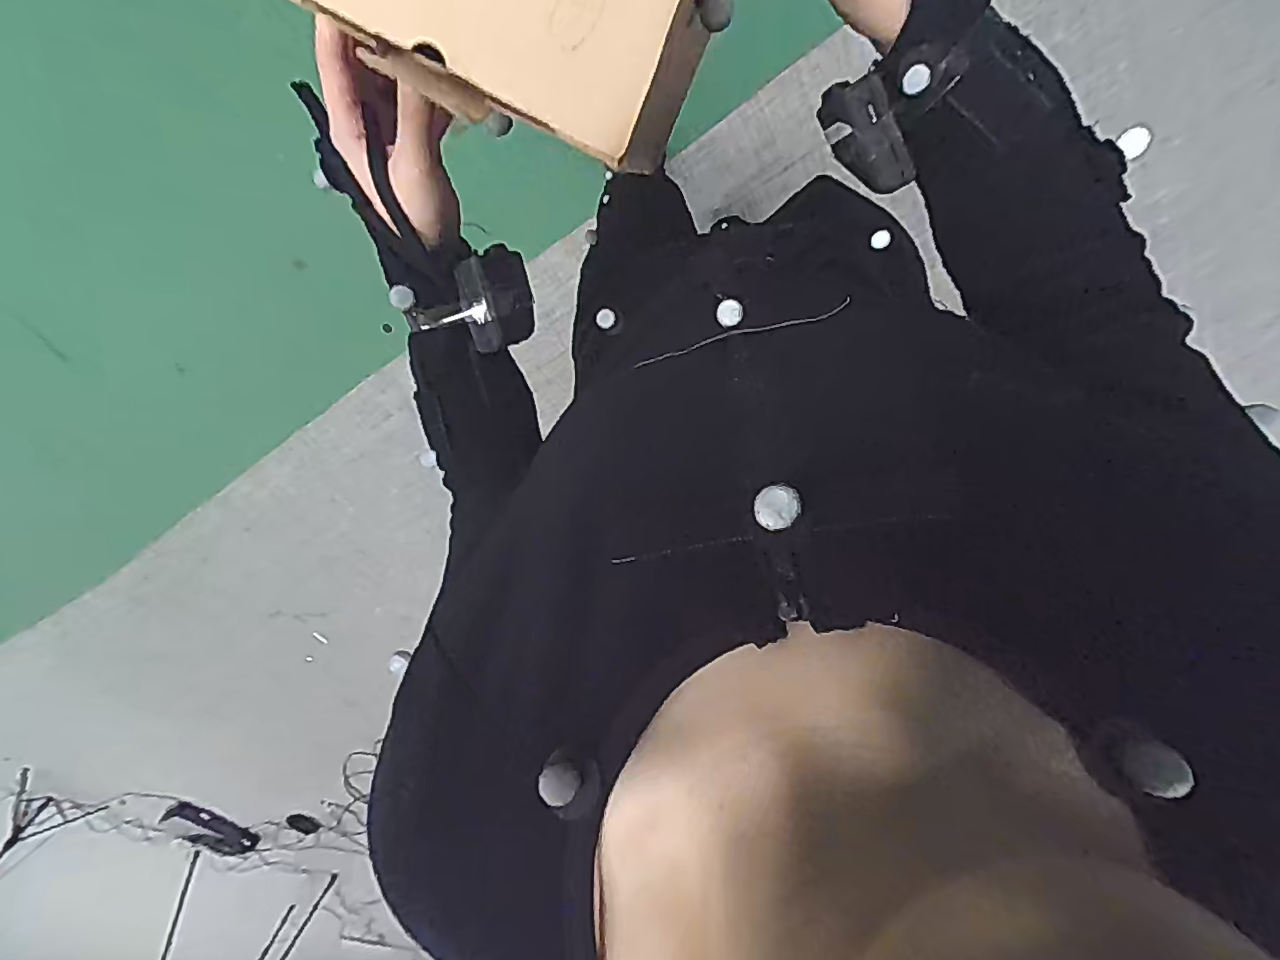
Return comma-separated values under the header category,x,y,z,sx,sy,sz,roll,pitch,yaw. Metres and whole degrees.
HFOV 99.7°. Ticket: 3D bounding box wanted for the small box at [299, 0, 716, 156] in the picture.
category,x,y,z,sx,sy,sz,roll,pitch,yaw
small box,-0.040,-0.271,0.241,0.168,0.176,0.179,25,120,-7
